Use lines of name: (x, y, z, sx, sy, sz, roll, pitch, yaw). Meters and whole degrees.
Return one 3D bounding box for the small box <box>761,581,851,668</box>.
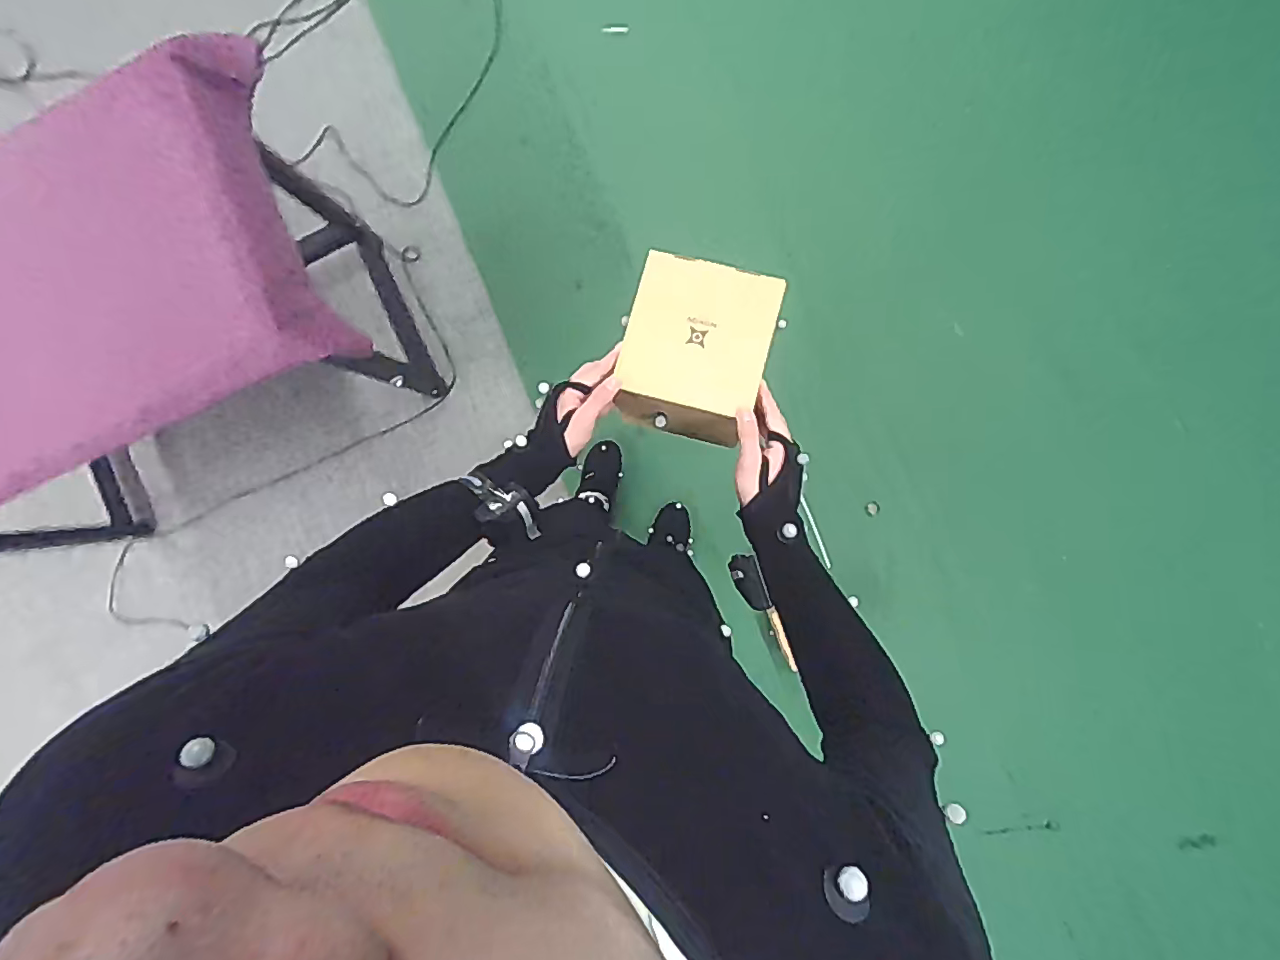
small box: (0.456, 0.396, 1.515, 0.179, 0.176, 0.168, -21, 88, 4)
